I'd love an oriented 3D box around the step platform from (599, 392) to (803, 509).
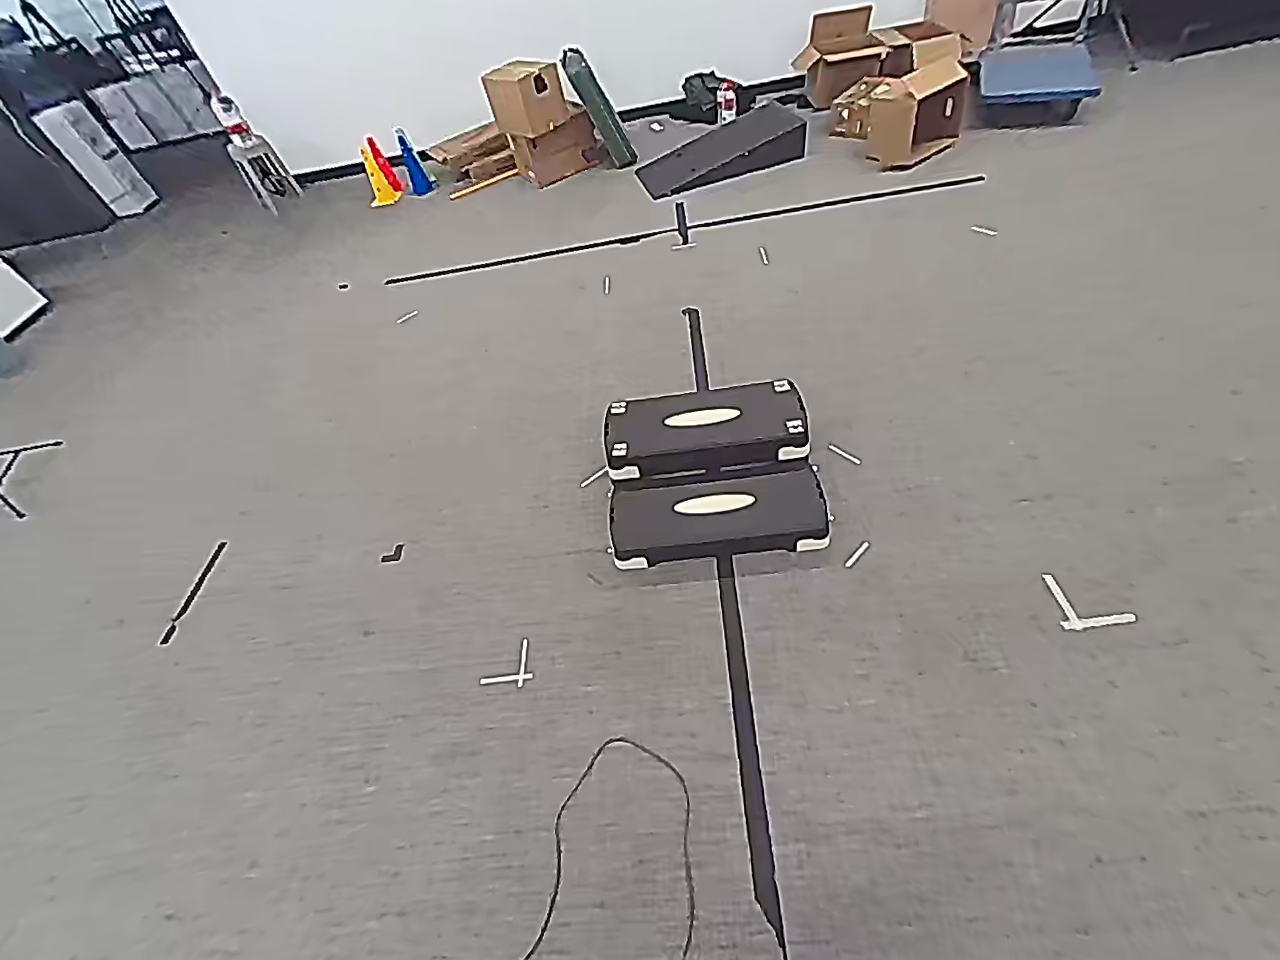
[{"bbox_3d":[0.200,-0.106,1.849,0.684,0.204,0.286,-7,50,5],"label":"step platform"}]
